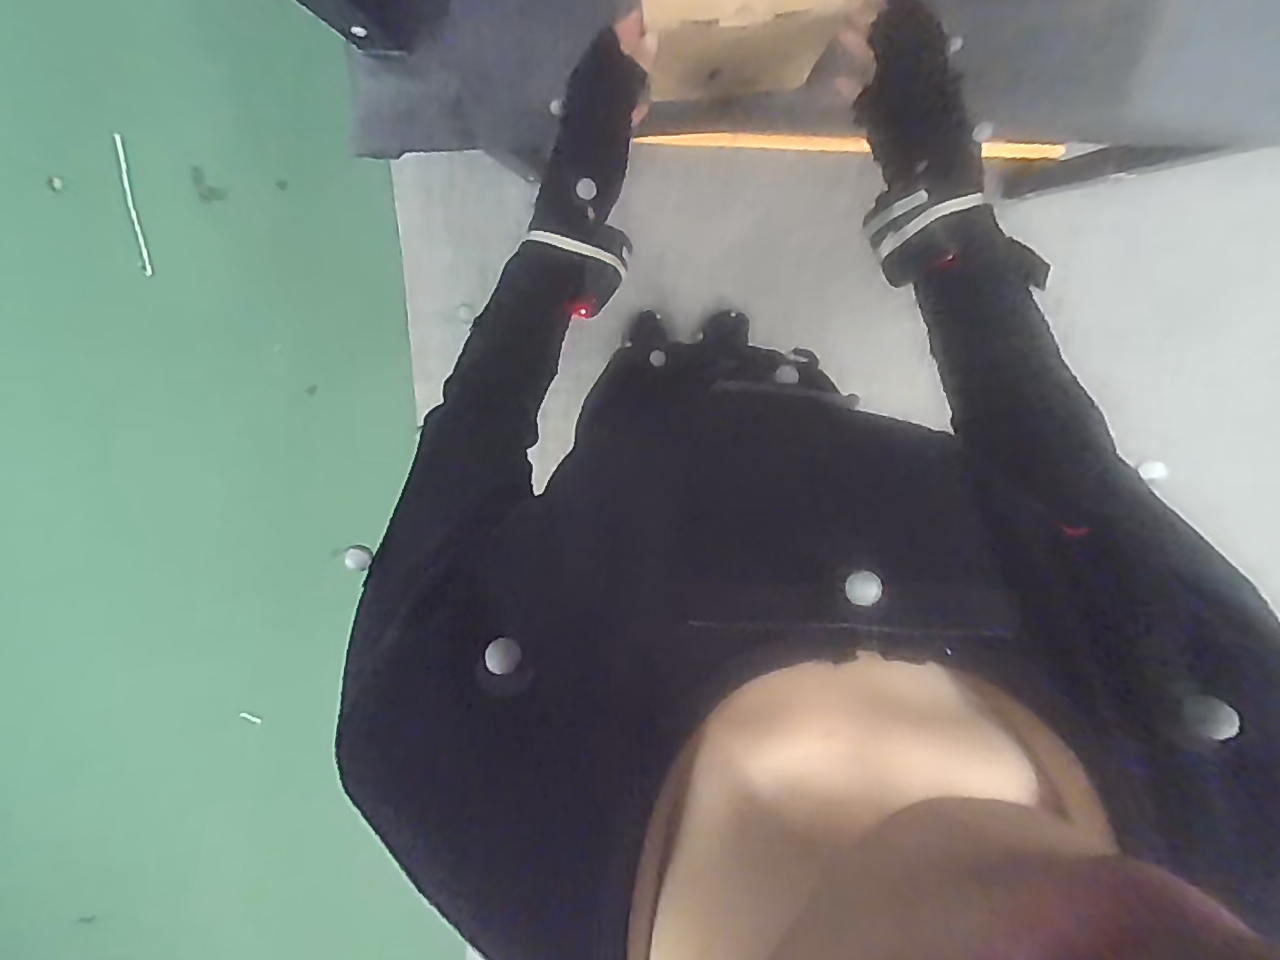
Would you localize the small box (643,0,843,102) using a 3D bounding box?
[{"bbox_3d":[0.084,-0.485,0.500,0.168,0.176,0.179,-2,108,4],"label":"small box"}]
